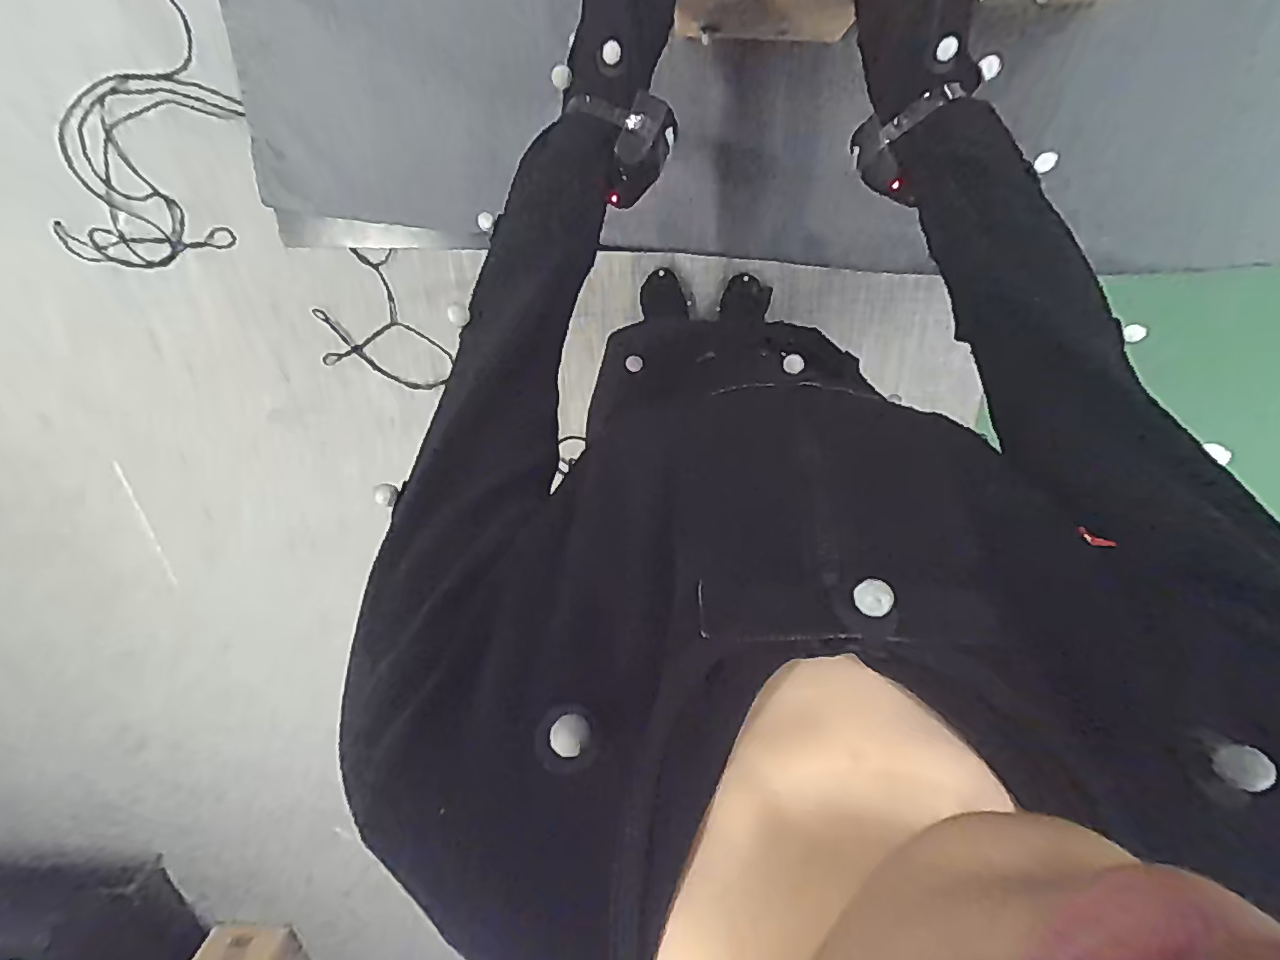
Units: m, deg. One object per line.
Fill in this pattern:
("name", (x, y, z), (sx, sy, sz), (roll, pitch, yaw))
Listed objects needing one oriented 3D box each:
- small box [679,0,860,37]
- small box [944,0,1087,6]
("small box", (0.118, -0.493, 0.439), (0.168, 0.176, 0.179), (4, 113, 3))
("small box", (0.352, -0.505, 0.411), (0.168, 0.176, 0.179), (2, 114, 5))
